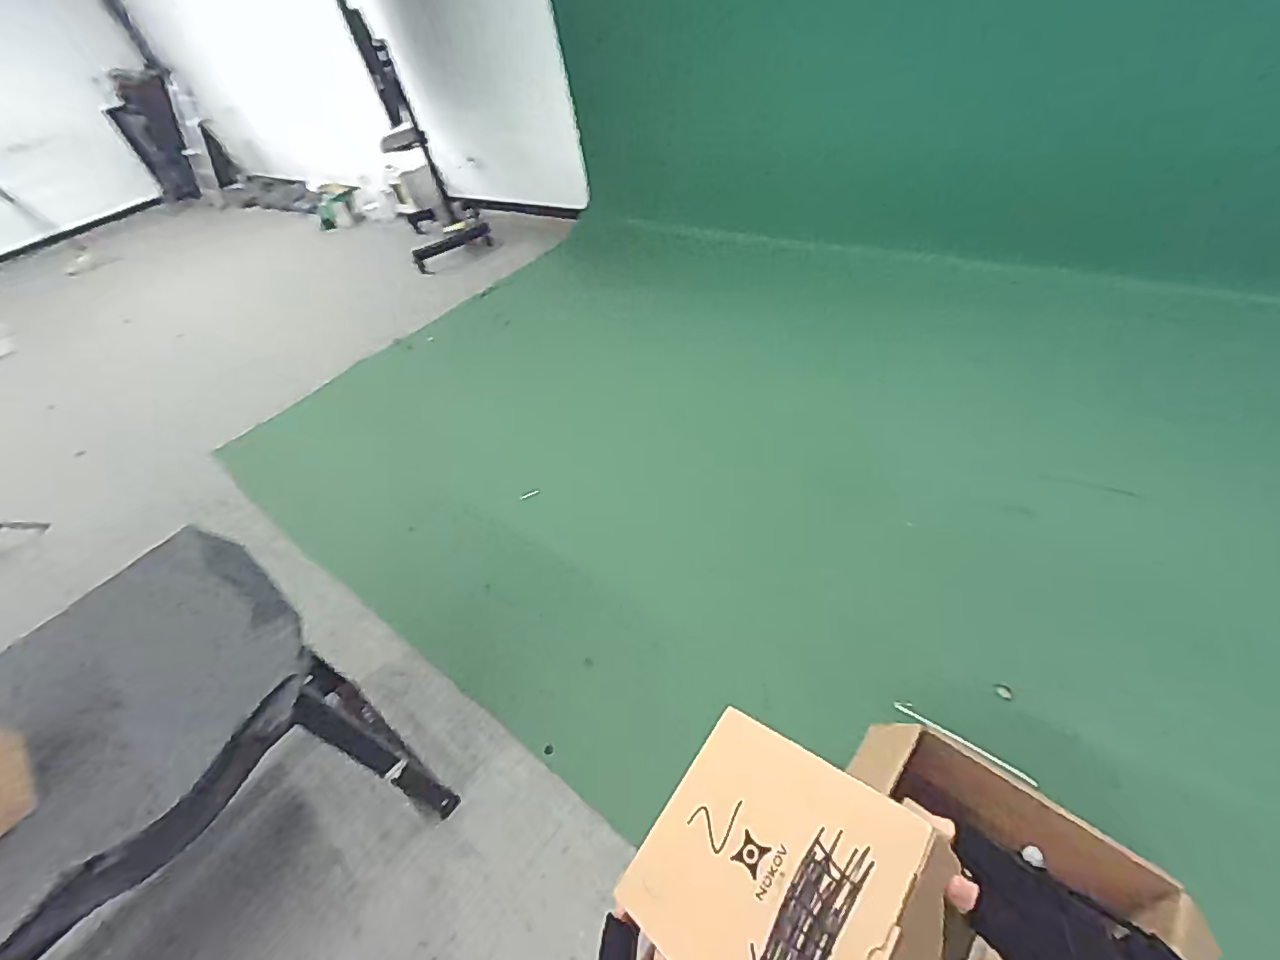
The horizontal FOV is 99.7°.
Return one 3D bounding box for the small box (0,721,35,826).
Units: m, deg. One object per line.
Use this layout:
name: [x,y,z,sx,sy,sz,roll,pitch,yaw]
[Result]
small box: [-1.037,0.440,0.768,0.179,0.176,0.168,26,57,33]
